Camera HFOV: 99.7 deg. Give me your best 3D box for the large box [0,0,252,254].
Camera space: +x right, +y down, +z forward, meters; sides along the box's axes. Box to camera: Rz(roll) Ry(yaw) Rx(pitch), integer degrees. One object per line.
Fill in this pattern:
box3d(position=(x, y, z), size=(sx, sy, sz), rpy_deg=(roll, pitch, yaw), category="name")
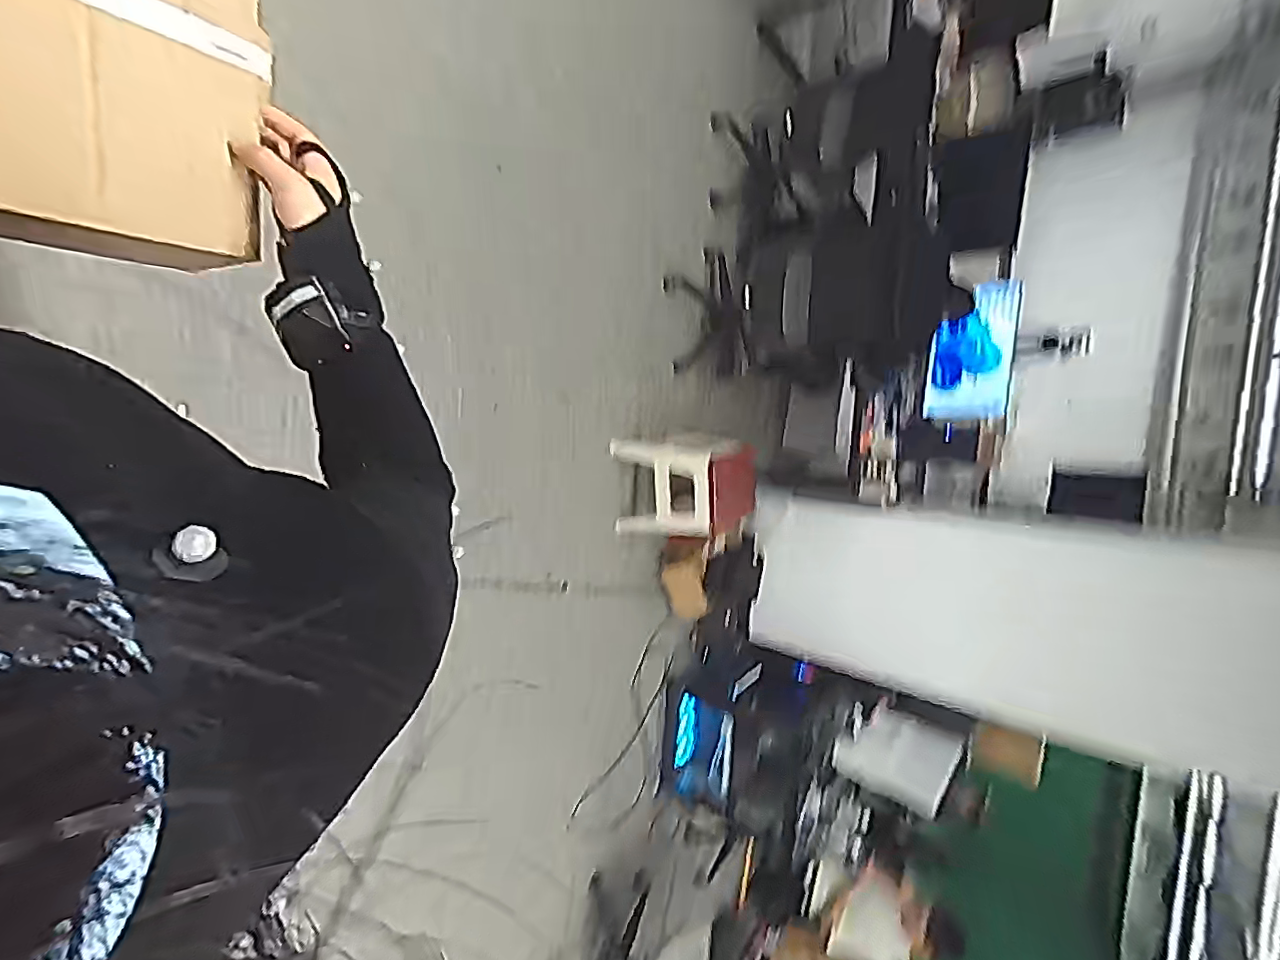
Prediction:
box3d(position=(-0.571, -0.372, 0.404), size=(0.408, 0.320, 0.320), rpy_deg=(-6, 107, -46), category="large box")
